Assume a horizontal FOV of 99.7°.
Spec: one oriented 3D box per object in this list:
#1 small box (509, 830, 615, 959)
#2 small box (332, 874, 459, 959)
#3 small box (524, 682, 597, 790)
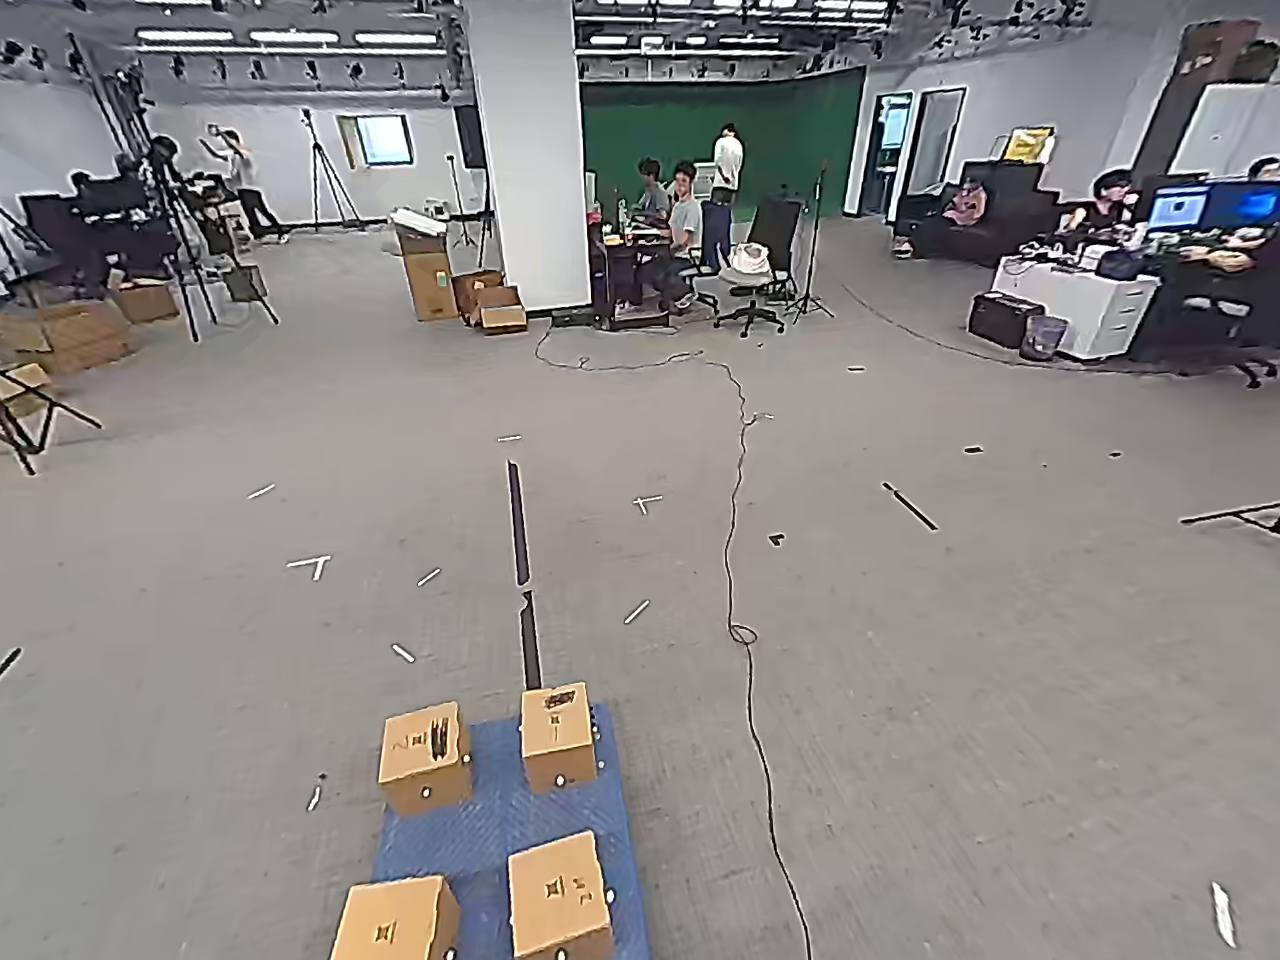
[{"bbox_3d":[-0.154,0.842,1.070,0.179,0.176,0.168,-10,34,-12],"label":"small box"},{"bbox_3d":[-0.457,0.884,1.021,0.179,0.176,0.168,-4,33,-6],"label":"small box"},{"bbox_3d":[-0.202,0.646,1.370,0.168,0.176,0.179,-7,35,-8],"label":"small box"}]
